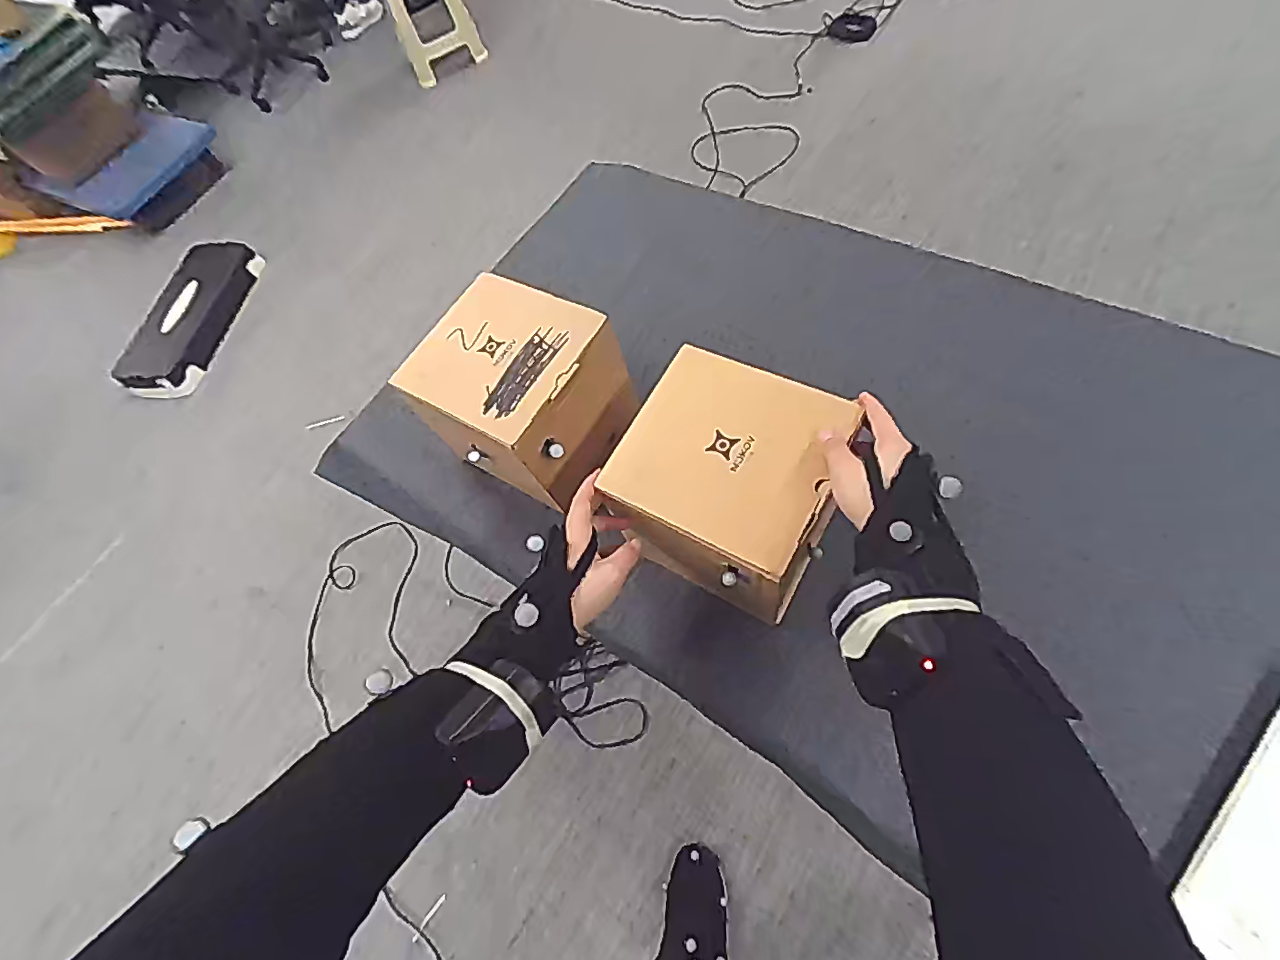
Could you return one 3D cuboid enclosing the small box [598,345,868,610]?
[{"bbox_3d":[0.088,0.006,0.525,0.179,0.176,0.168,26,71,20],"label":"small box"}]
